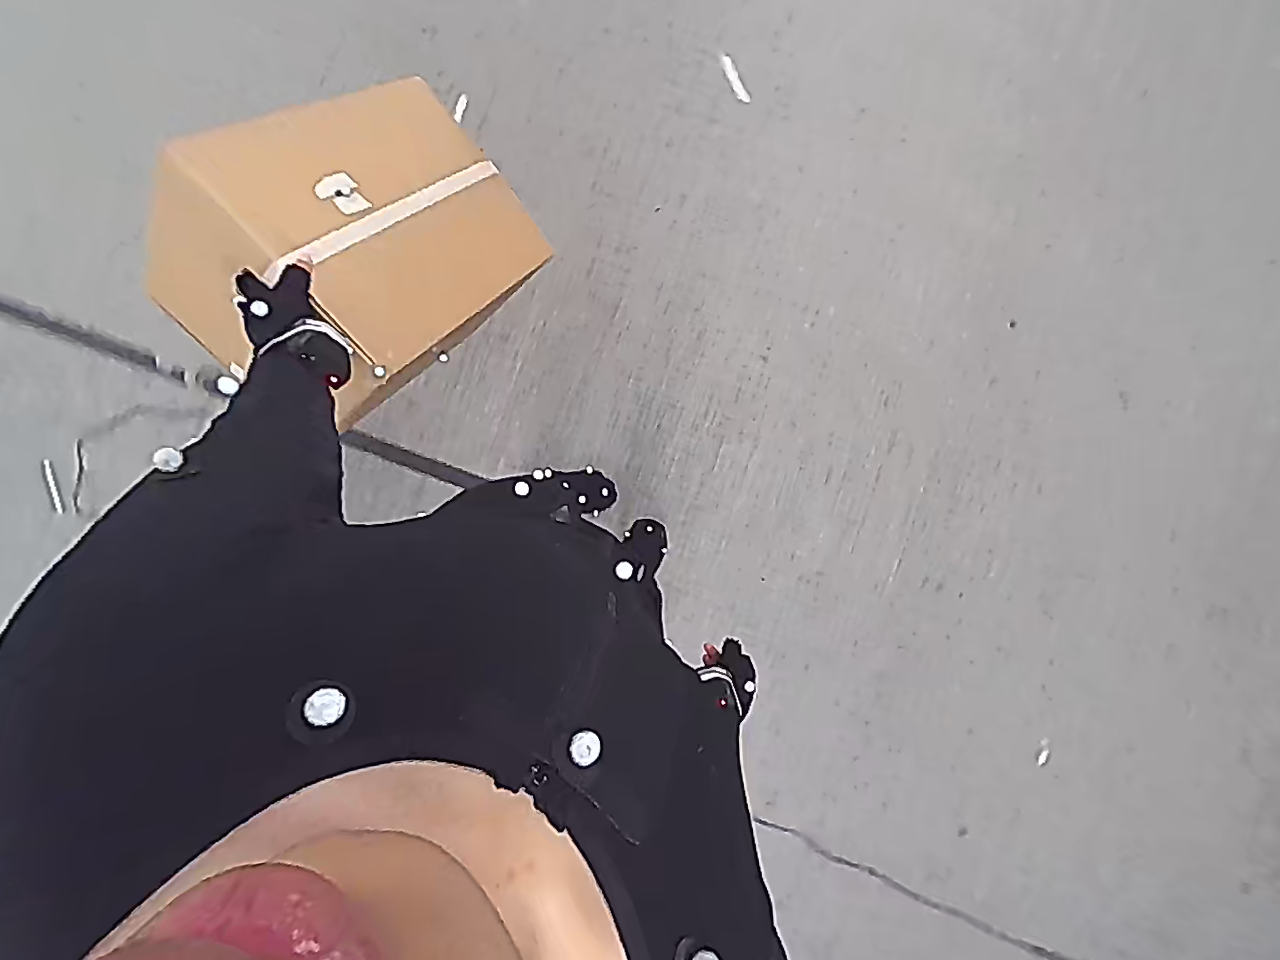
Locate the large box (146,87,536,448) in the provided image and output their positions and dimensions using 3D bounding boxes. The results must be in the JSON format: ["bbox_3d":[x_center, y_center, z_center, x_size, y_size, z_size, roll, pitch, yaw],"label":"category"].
[{"bbox_3d":[-0.446,-0.320,0.851,0.320,0.320,0.408,48,49,-20],"label":"large box"}]
